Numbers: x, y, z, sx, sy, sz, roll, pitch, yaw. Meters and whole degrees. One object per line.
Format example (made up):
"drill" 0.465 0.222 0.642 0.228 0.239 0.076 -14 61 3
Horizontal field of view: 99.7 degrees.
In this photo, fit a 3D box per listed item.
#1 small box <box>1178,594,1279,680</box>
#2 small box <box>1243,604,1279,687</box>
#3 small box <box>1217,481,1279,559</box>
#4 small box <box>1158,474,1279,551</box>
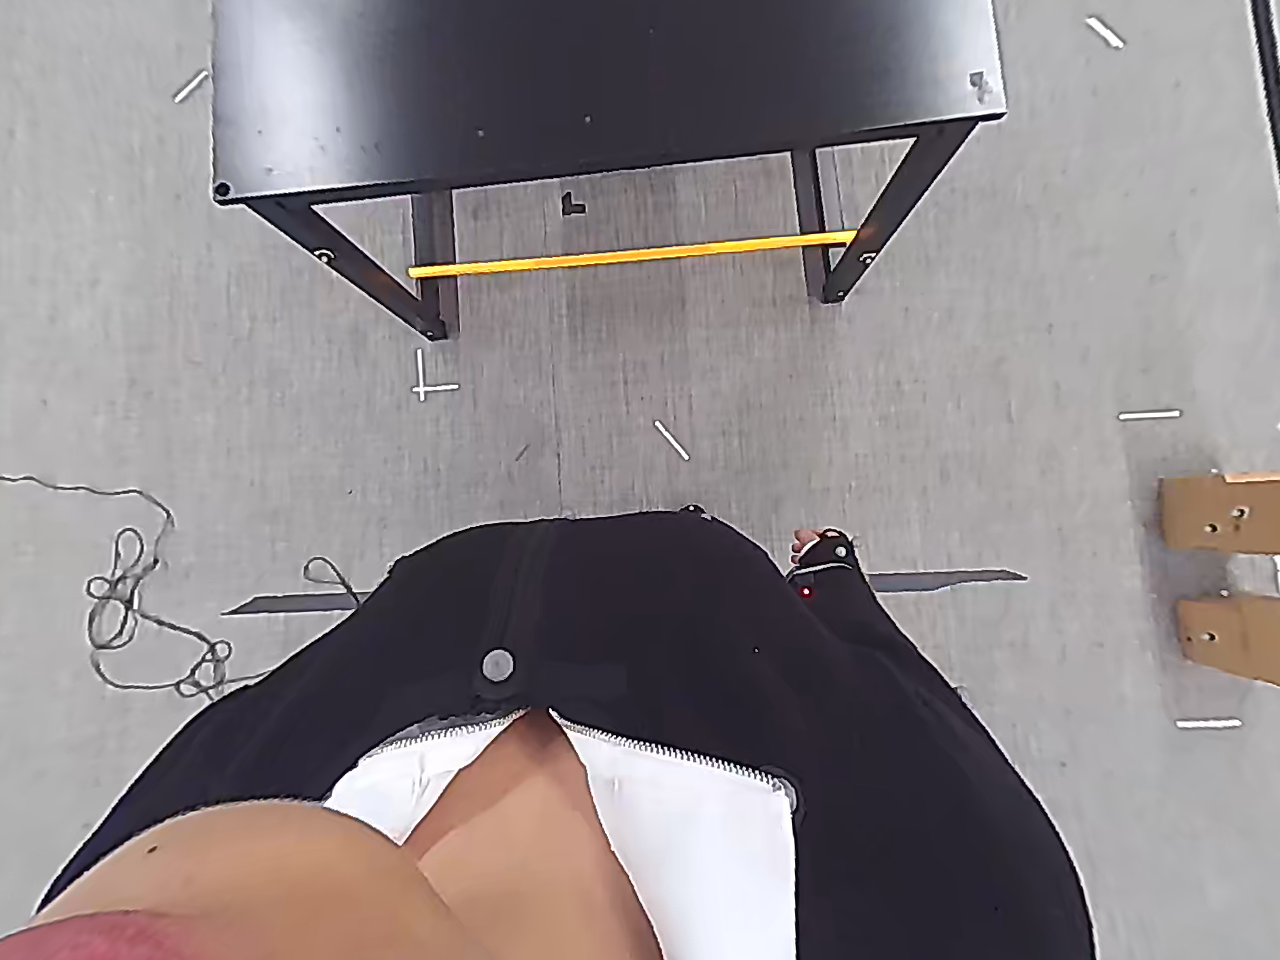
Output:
"small box" 1.468 0.375 1.313 0.179 0.176 0.168 -6 86 4
"small box" 1.454 0.358 1.148 0.168 0.176 0.179 -6 87 3
"small box" 1.427 0.085 1.169 0.179 0.176 0.168 -3 85 4
"small box" 1.439 0.079 1.331 0.168 0.176 0.179 -3 86 3
